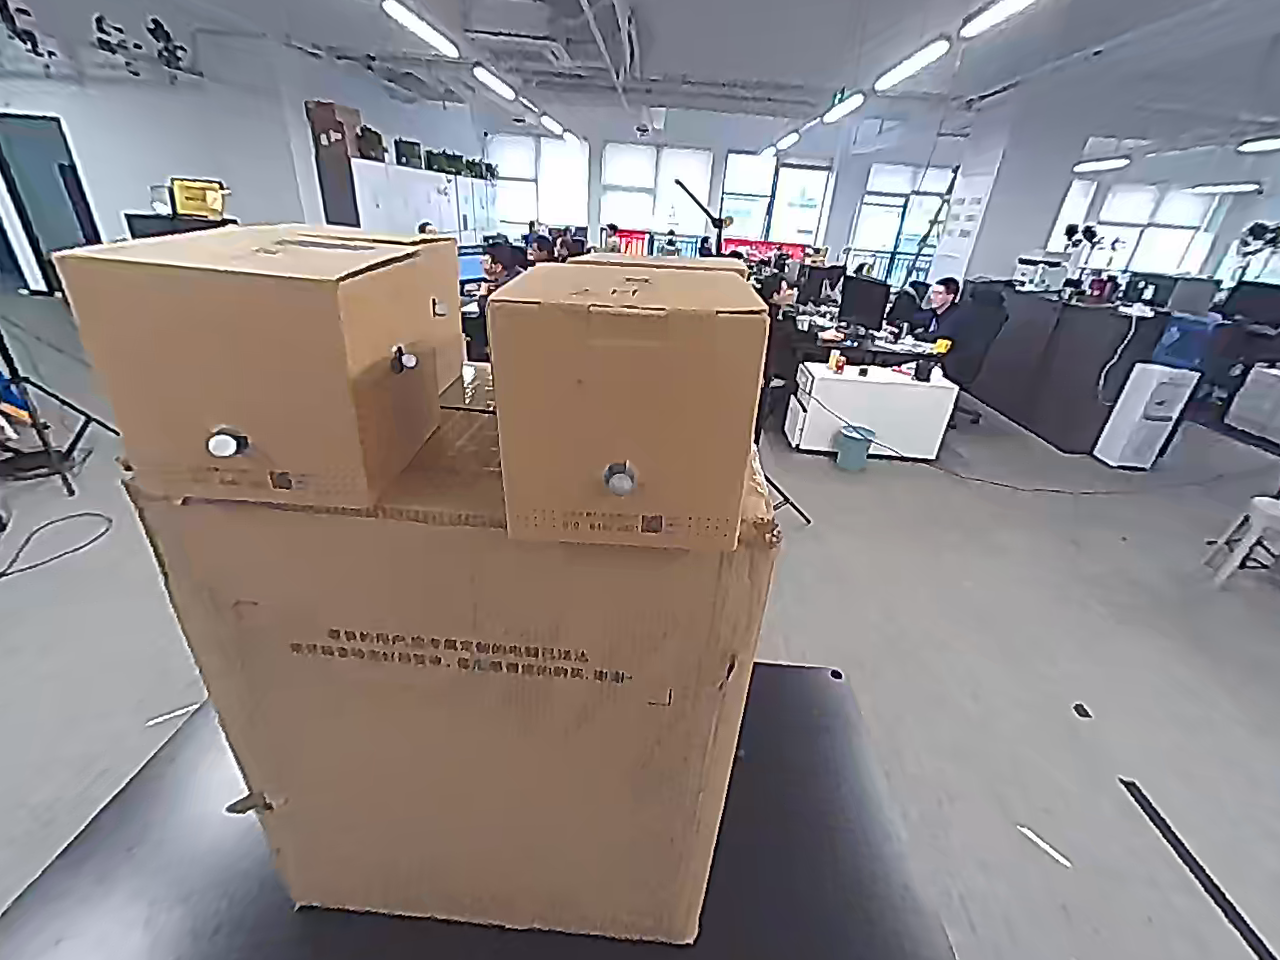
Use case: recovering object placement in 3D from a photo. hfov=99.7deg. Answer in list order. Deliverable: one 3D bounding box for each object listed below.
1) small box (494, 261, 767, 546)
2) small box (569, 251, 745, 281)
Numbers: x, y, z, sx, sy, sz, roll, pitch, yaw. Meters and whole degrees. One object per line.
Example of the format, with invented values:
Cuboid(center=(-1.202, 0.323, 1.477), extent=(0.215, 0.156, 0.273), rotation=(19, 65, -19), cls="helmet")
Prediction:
Cuboid(center=(-0.006, -0.069, 0.427), extent=(0.168, 0.176, 0.179), rotation=(3, 29, 1), cls="small box")
Cuboid(center=(0.019, -0.154, 0.596), extent=(0.168, 0.176, 0.179), rotation=(4, 25, 4), cls="small box")
